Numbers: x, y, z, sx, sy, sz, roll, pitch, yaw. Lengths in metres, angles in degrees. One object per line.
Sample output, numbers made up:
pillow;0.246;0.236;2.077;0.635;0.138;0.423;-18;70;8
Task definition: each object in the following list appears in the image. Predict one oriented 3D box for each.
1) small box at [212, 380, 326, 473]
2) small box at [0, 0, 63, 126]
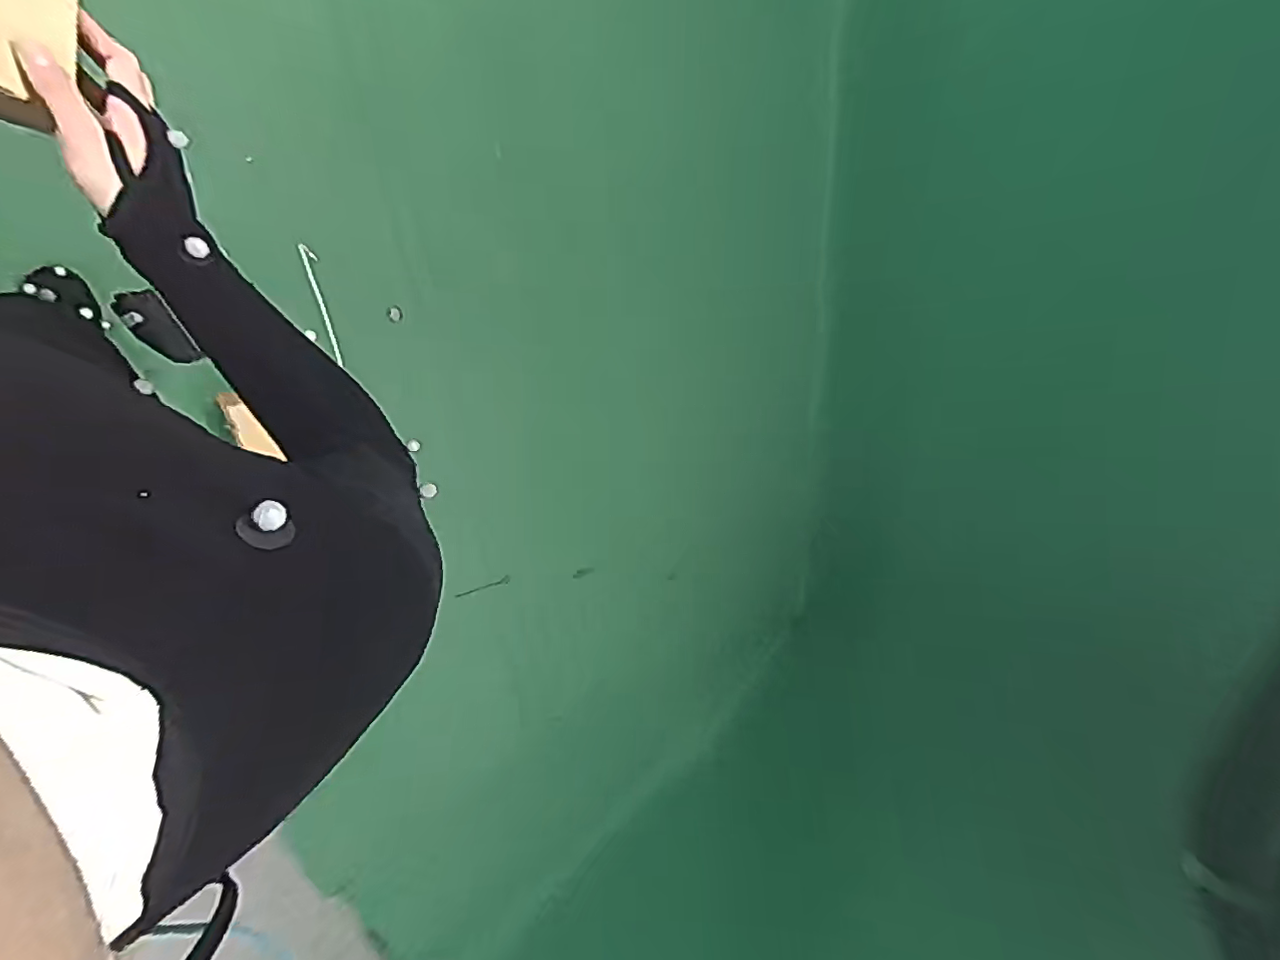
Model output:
small box;-0.914;-0.140;1.334;0.179;0.176;0.168;-25;124;-35
small box;-0.510;-0.369;0.355;0.168;0.176;0.179;-2;108;-52
